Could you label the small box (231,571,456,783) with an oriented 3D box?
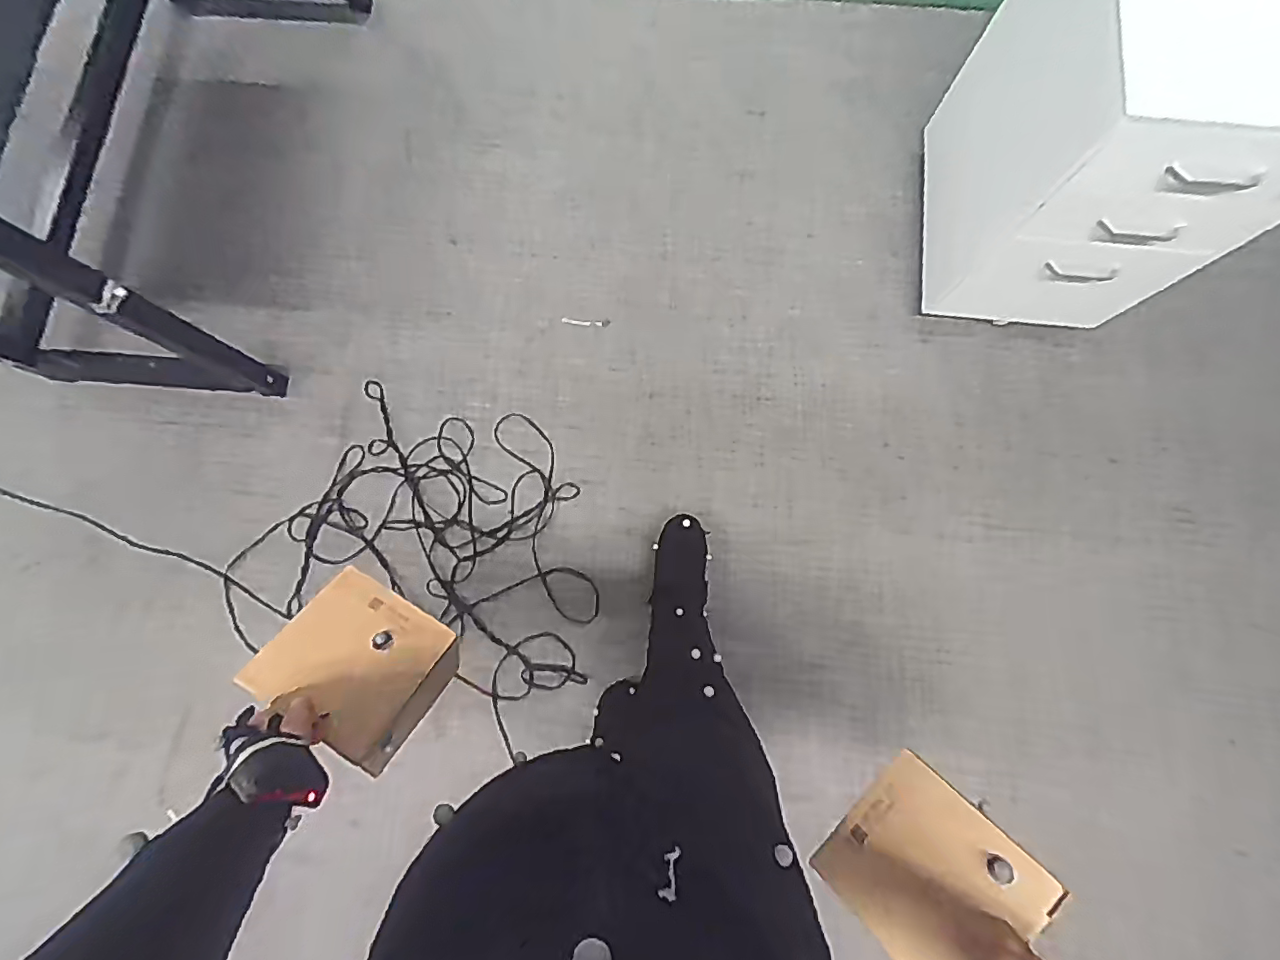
[{"bbox_3d":[-0.350,0.248,0.682,0.168,0.179,0.176,31,53,3],"label":"small box"}]
